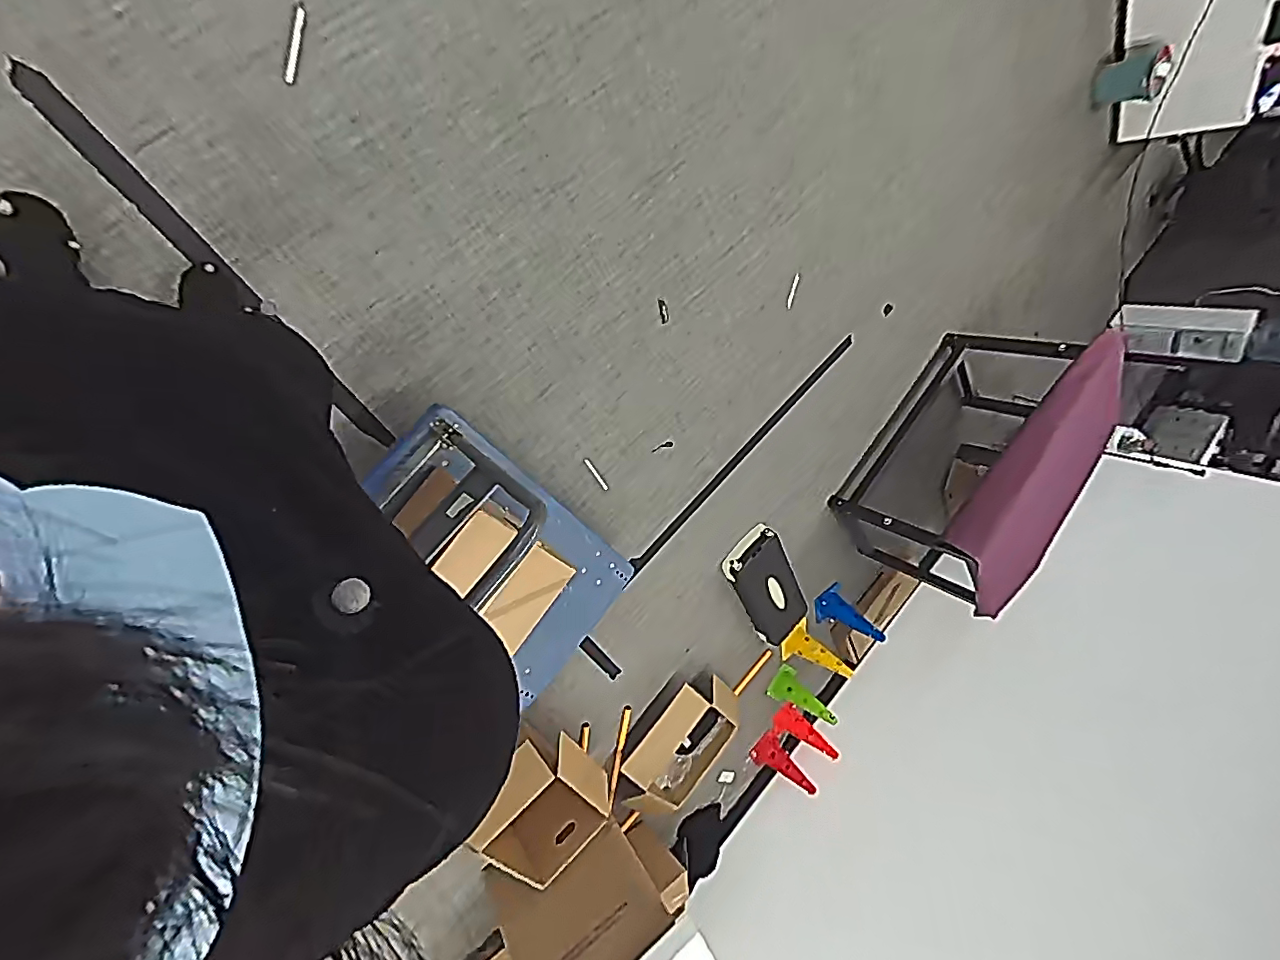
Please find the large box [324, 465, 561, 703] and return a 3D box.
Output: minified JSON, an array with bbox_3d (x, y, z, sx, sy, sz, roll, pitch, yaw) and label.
[{"bbox_3d":[-0.471,0.237,1.293,0.408,0.320,0.320,-53,130,-6],"label":"large box"}]
